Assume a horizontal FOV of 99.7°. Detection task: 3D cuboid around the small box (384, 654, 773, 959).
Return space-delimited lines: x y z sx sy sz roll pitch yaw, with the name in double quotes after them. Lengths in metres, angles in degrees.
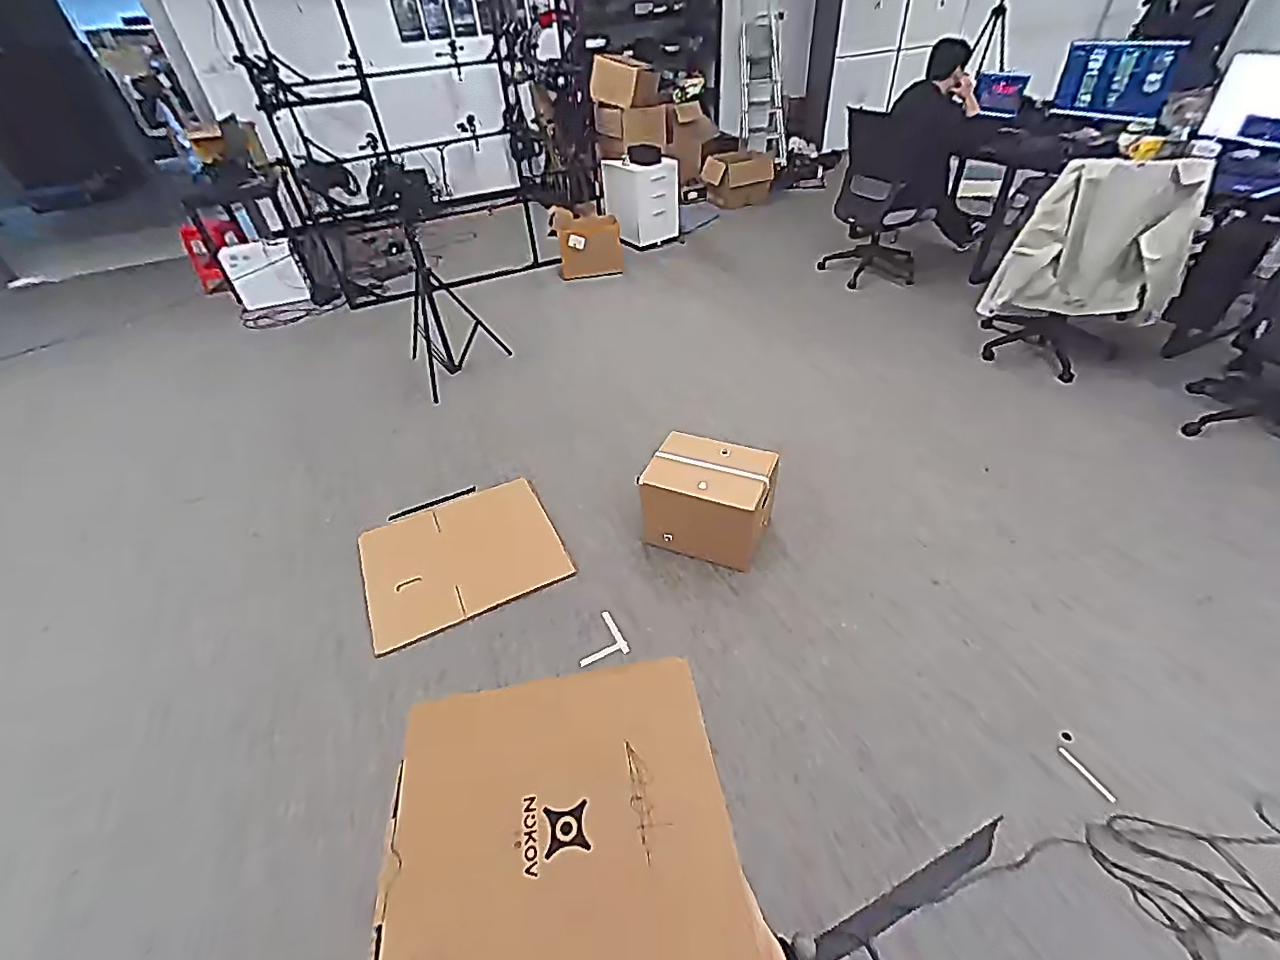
-0.035 0.236 0.334 0.179 0.176 0.168 -9 45 -7 "small box"
